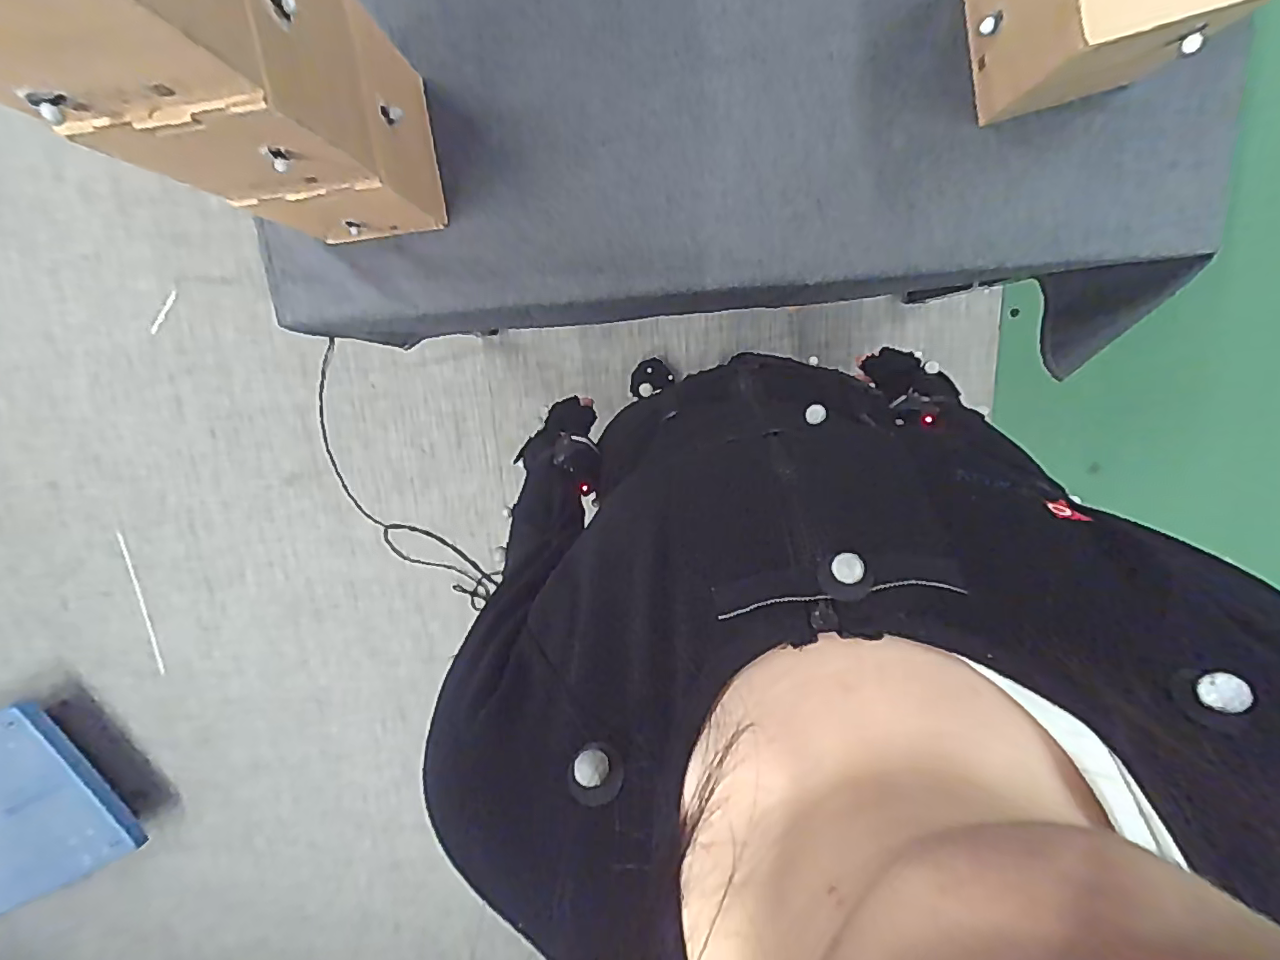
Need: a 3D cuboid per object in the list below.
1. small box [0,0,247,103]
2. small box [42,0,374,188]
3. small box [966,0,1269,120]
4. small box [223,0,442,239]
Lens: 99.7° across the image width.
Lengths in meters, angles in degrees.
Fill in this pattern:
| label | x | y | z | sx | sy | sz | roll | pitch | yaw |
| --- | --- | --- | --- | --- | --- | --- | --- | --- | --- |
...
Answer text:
| label | x | y | z | sx | sy | sz | roll | pitch | yaw |
| --- | --- | --- | --- | --- | --- | --- | --- | --- | --- |
| small box | -0.356 | -0.332 | 0.285 | 0.168 | 0.176 | 0.179 | -7 | 102 | 3 |
| small box | -0.349 | -0.359 | 0.446 | 0.168 | 0.176 | 0.179 | -5 | 102 | 3 |
| small box | 0.462 | -0.500 | 0.537 | 0.179 | 0.176 | 0.168 | -13 | 101 | 6 |
| small box | -0.344 | -0.390 | 0.606 | 0.168 | 0.176 | 0.179 | -6 | 102 | 4 |
